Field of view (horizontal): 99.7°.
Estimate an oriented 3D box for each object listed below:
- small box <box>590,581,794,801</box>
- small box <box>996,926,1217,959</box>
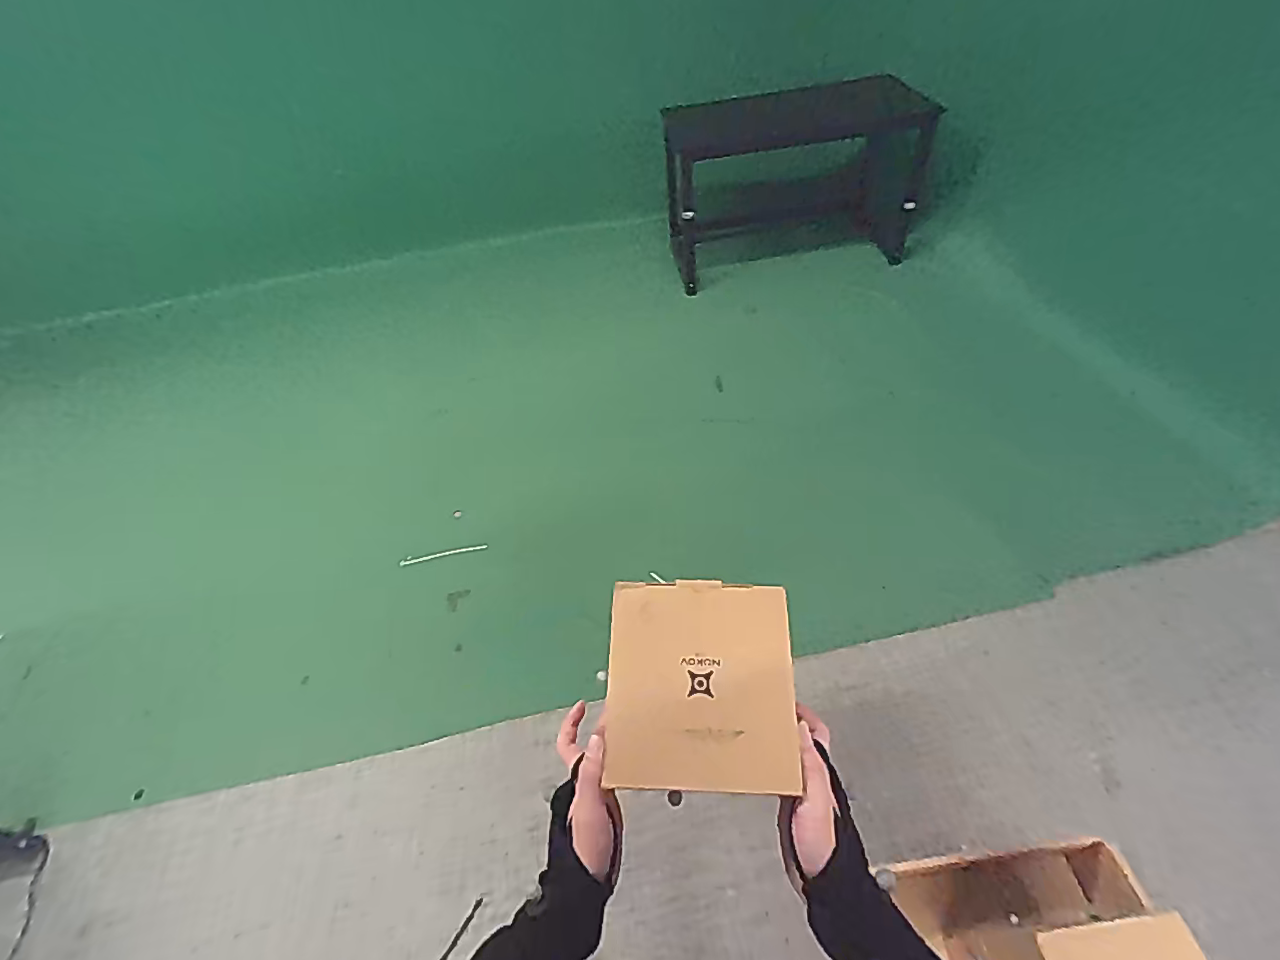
[{"bbox_3d":[0.047,0.212,0.538,0.168,0.176,0.179,1,62,4],"label":"small box"},{"bbox_3d":[0.566,0.632,0.626,0.179,0.176,0.168,-9,48,0],"label":"small box"}]
